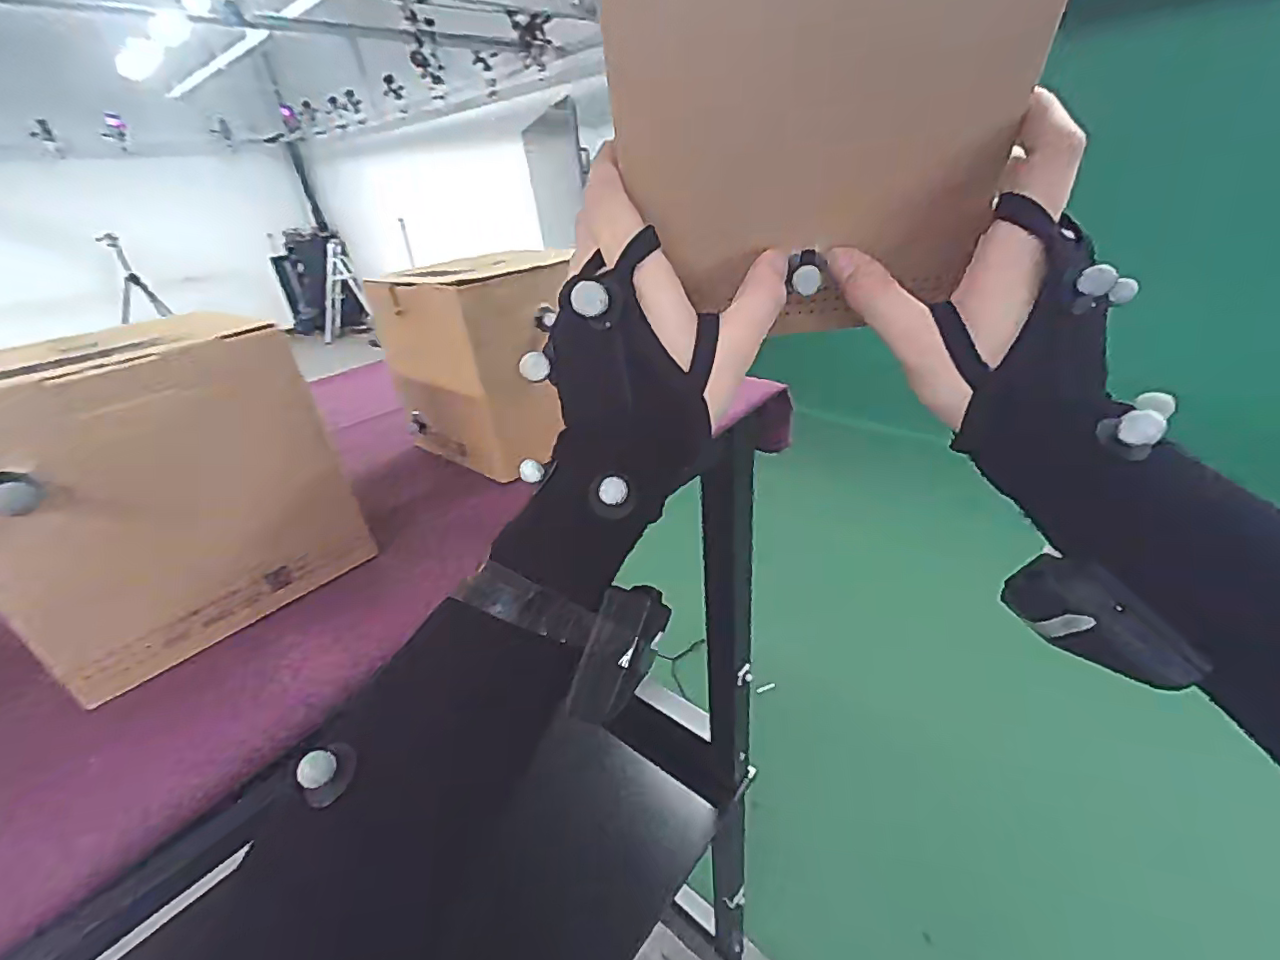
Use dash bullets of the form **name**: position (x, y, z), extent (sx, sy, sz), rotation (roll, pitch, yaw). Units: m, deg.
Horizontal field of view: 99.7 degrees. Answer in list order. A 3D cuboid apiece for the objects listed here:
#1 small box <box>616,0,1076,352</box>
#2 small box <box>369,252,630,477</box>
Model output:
- **small box**: position (0.084, -0.193, 0.310), extent (0.179, 0.176, 0.168), rotation (-4, 49, 4)
- **small box**: position (-0.126, -0.121, 0.537), extent (0.168, 0.176, 0.179), rotation (19, 38, 38)
